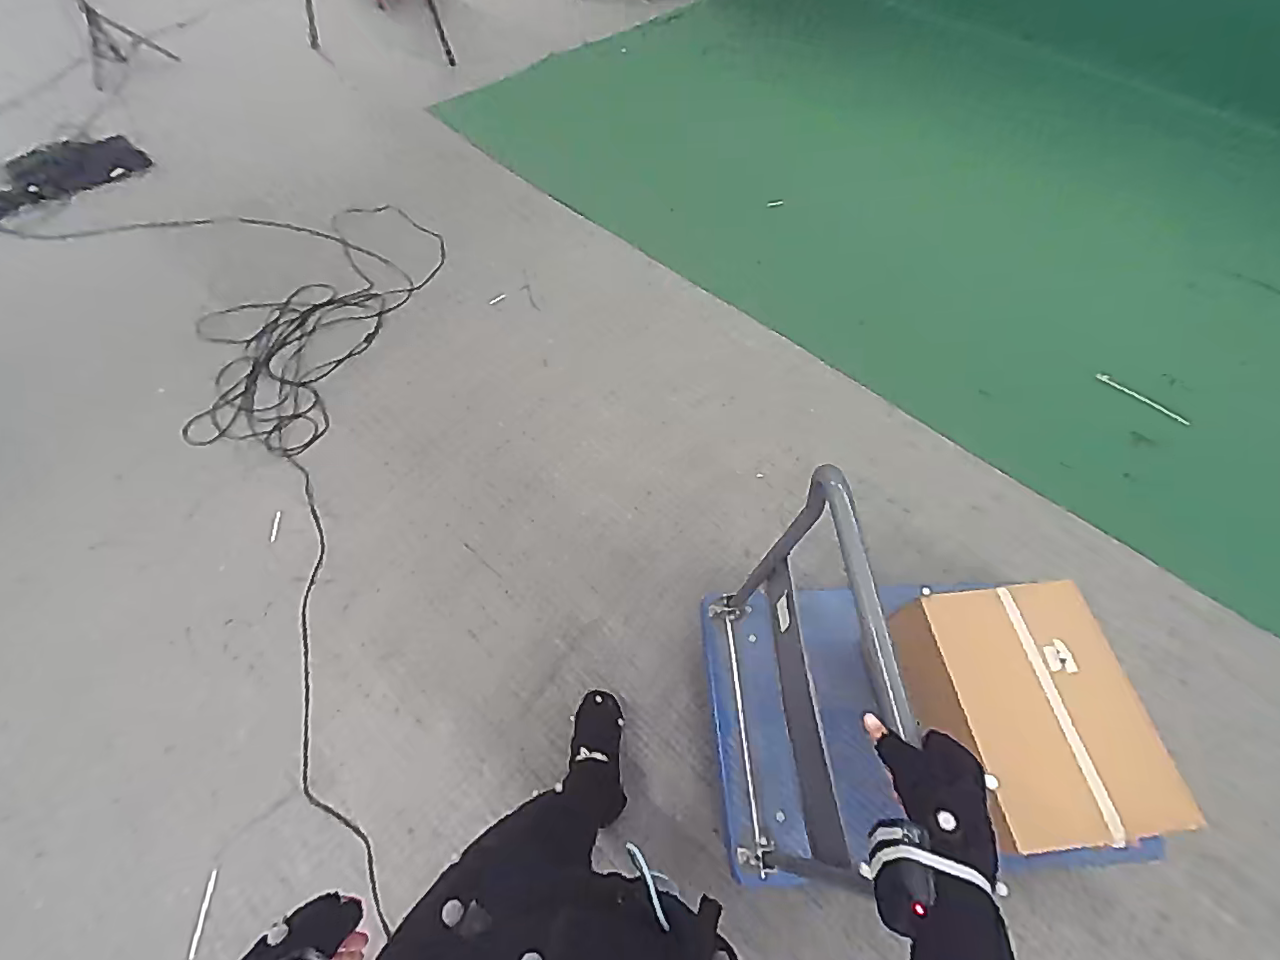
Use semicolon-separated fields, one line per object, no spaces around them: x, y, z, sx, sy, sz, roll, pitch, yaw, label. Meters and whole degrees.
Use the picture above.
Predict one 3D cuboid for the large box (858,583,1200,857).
0.679;0.456;1.039;0.320;0.320;0.408;-4;58;-6;large box
